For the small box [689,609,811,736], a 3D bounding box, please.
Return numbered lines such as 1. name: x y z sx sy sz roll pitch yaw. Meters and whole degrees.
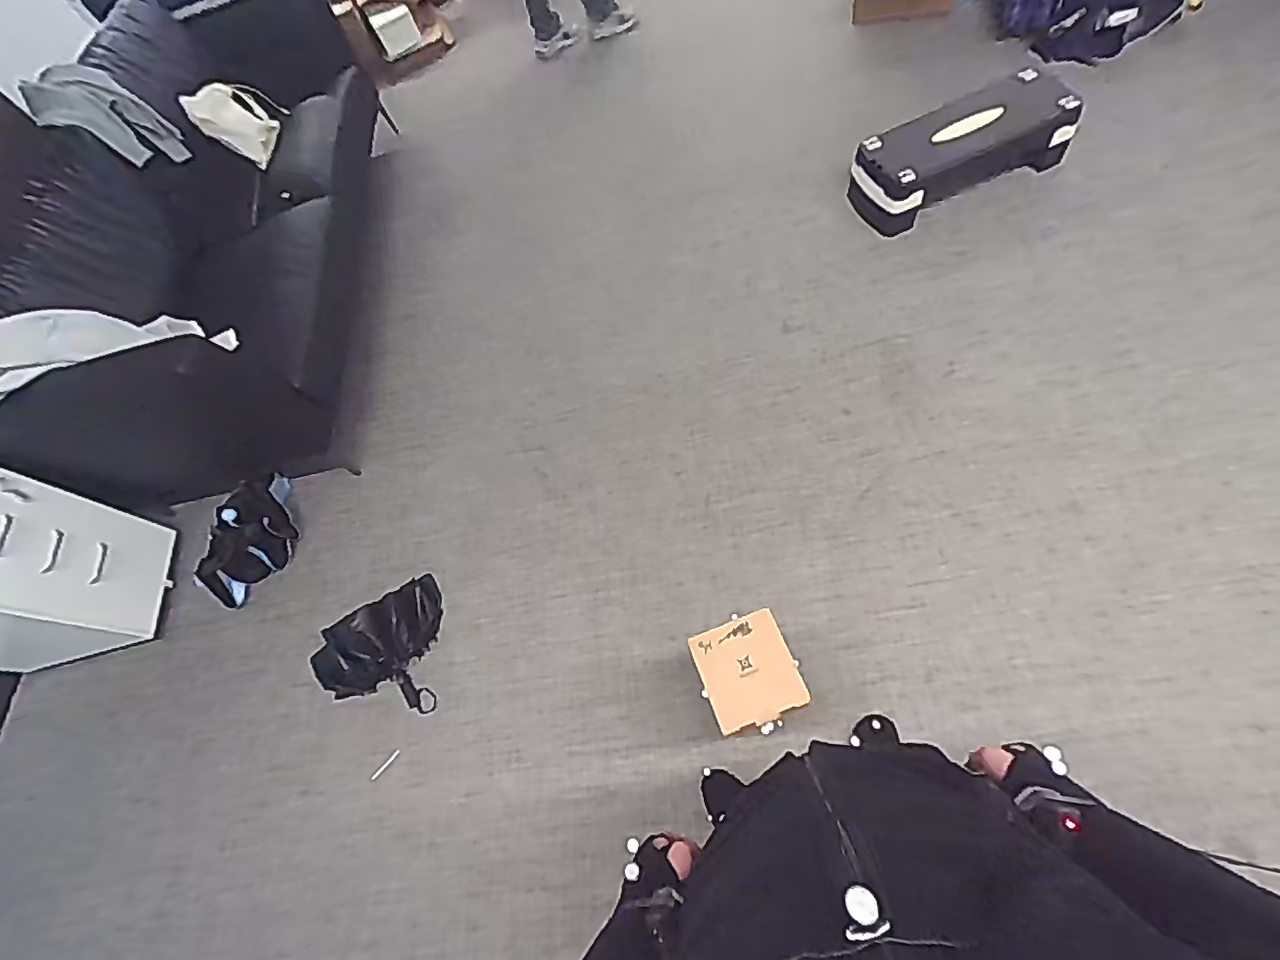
1. small box: 0.209 0.367 1.029 0.168 0.176 0.179 -23 63 3
